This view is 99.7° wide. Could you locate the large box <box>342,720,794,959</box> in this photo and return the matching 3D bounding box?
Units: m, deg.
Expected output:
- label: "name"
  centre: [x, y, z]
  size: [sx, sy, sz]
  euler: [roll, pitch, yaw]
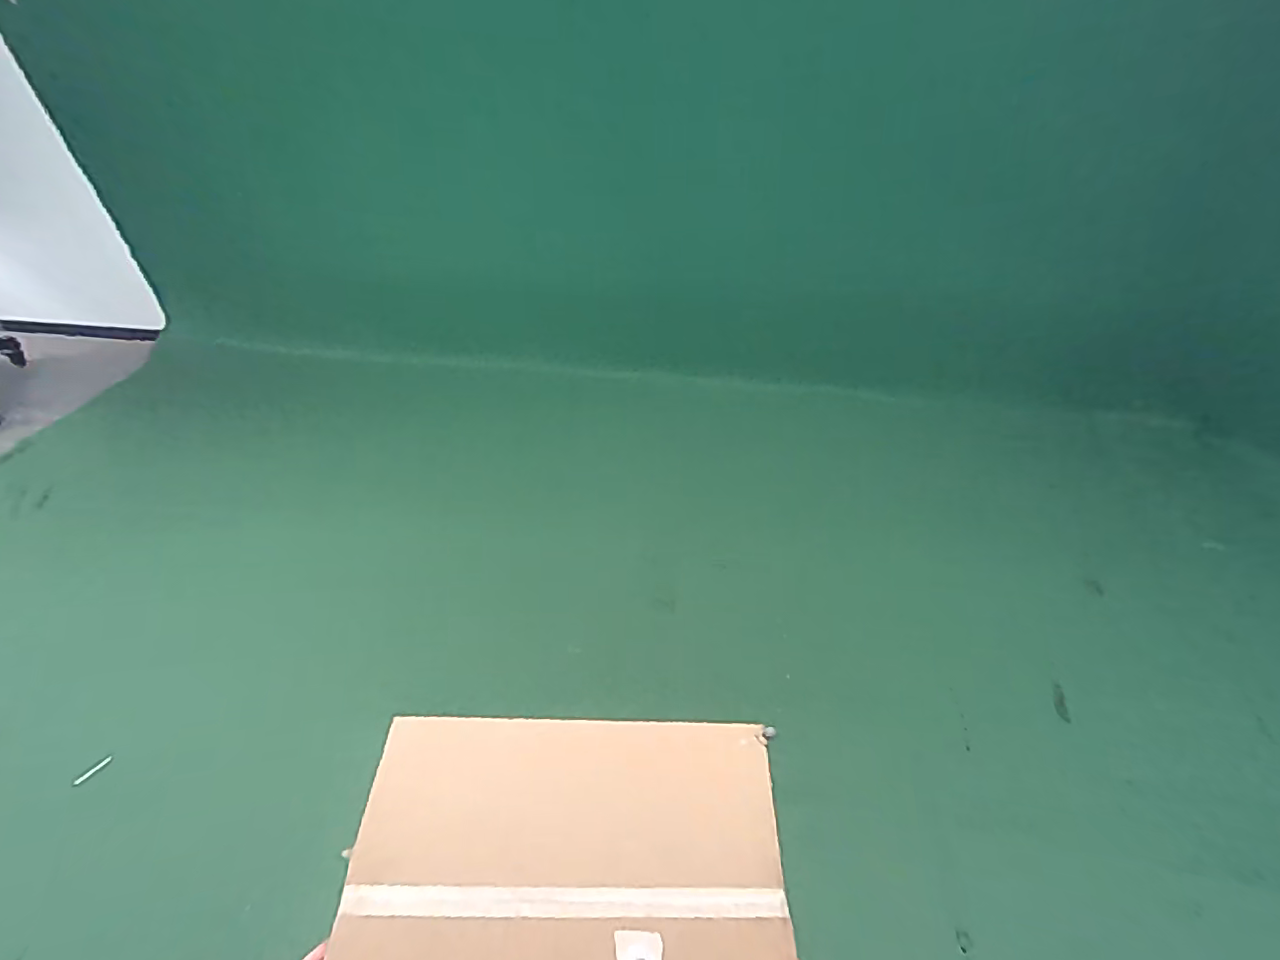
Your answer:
- label: "large box"
  centre: [-0.069, 0.482, 0.615]
  size: [0.408, 0.320, 0.320]
  euler: [1, 51, -2]
